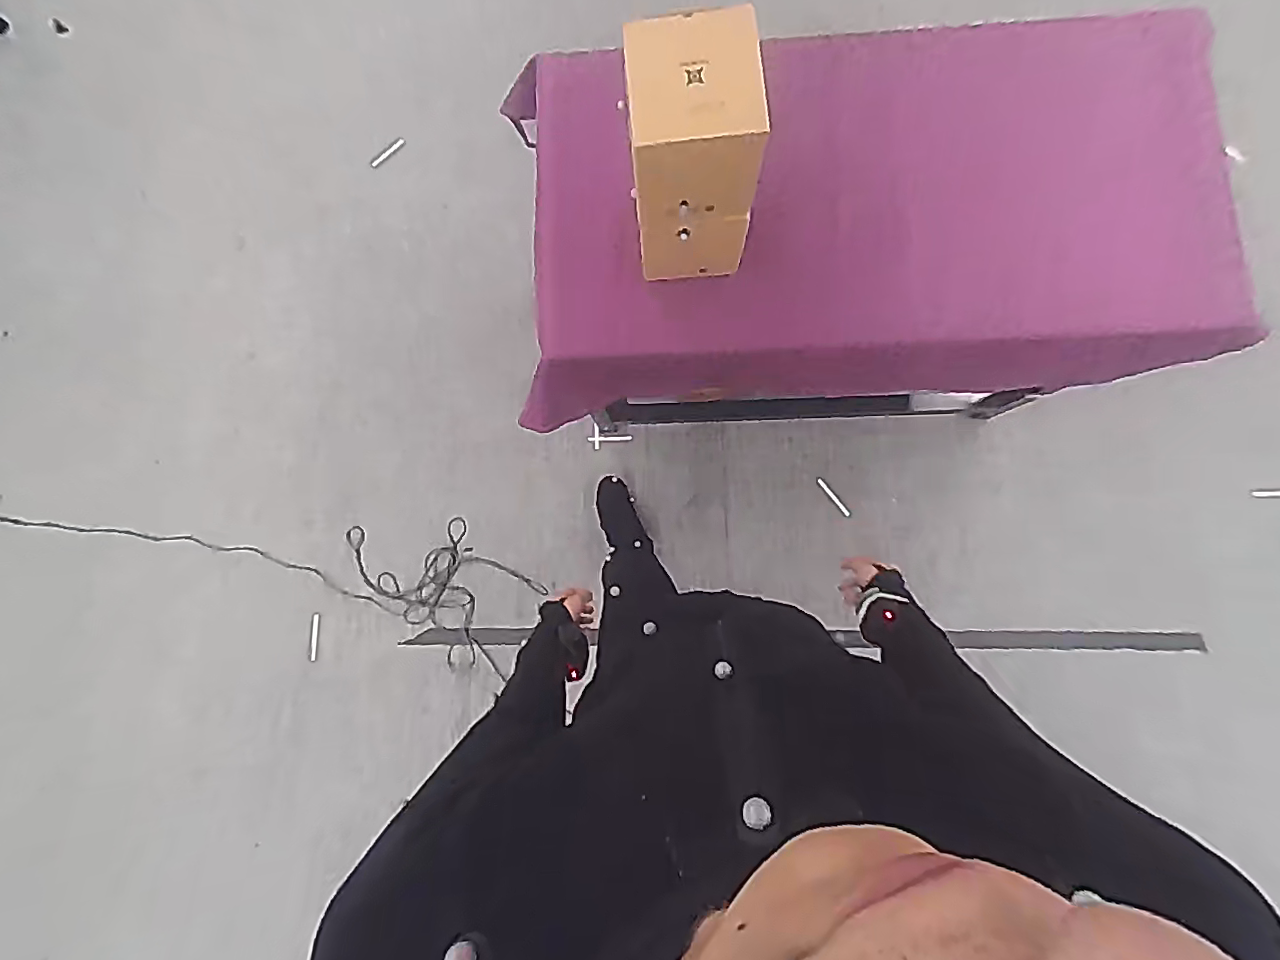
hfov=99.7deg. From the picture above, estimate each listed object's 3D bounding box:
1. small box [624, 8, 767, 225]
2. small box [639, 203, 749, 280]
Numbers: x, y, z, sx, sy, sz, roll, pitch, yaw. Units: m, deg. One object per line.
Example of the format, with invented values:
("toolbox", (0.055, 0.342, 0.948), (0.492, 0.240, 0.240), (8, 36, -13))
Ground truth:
("small box", (0.067, -0.480, 0.735), (0.168, 0.176, 0.179), (-5, 83, 2))
("small box", (0.081, -0.457, 0.897), (0.168, 0.176, 0.179), (-3, 82, 3))
